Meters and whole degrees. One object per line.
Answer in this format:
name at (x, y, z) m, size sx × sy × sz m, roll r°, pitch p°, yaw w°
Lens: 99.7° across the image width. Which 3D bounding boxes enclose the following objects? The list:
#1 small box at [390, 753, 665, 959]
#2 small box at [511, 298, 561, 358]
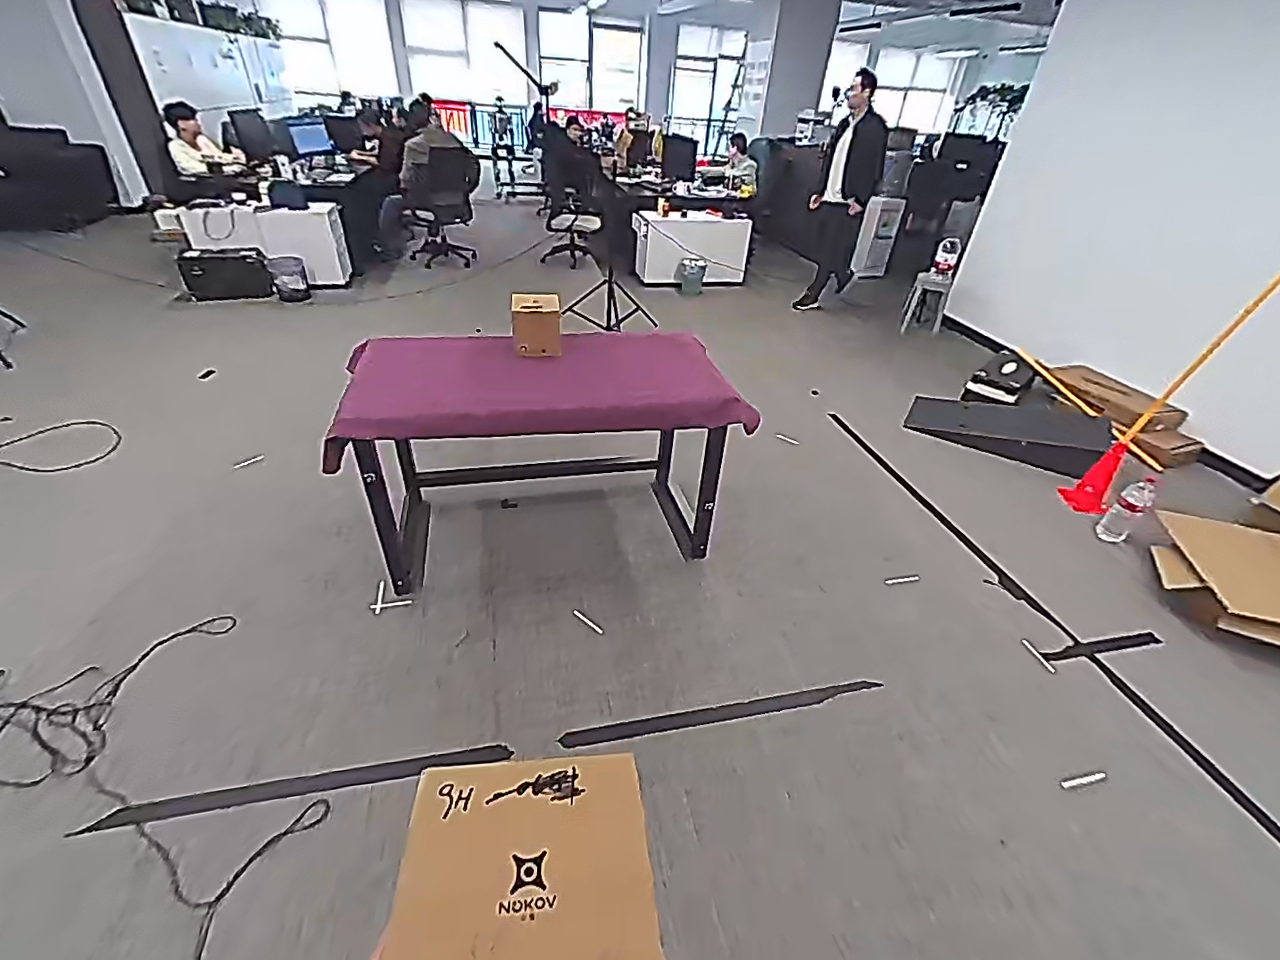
small box at (-0.076, 0.335, 0.395) m, size 0.168 × 0.176 × 0.179 m, roll 0°, pitch 32°, yaw -9°
small box at (-0.377, -0.553, 1.967) m, size 0.168 × 0.176 × 0.179 m, roll -3°, pitch 37°, yaw -10°
